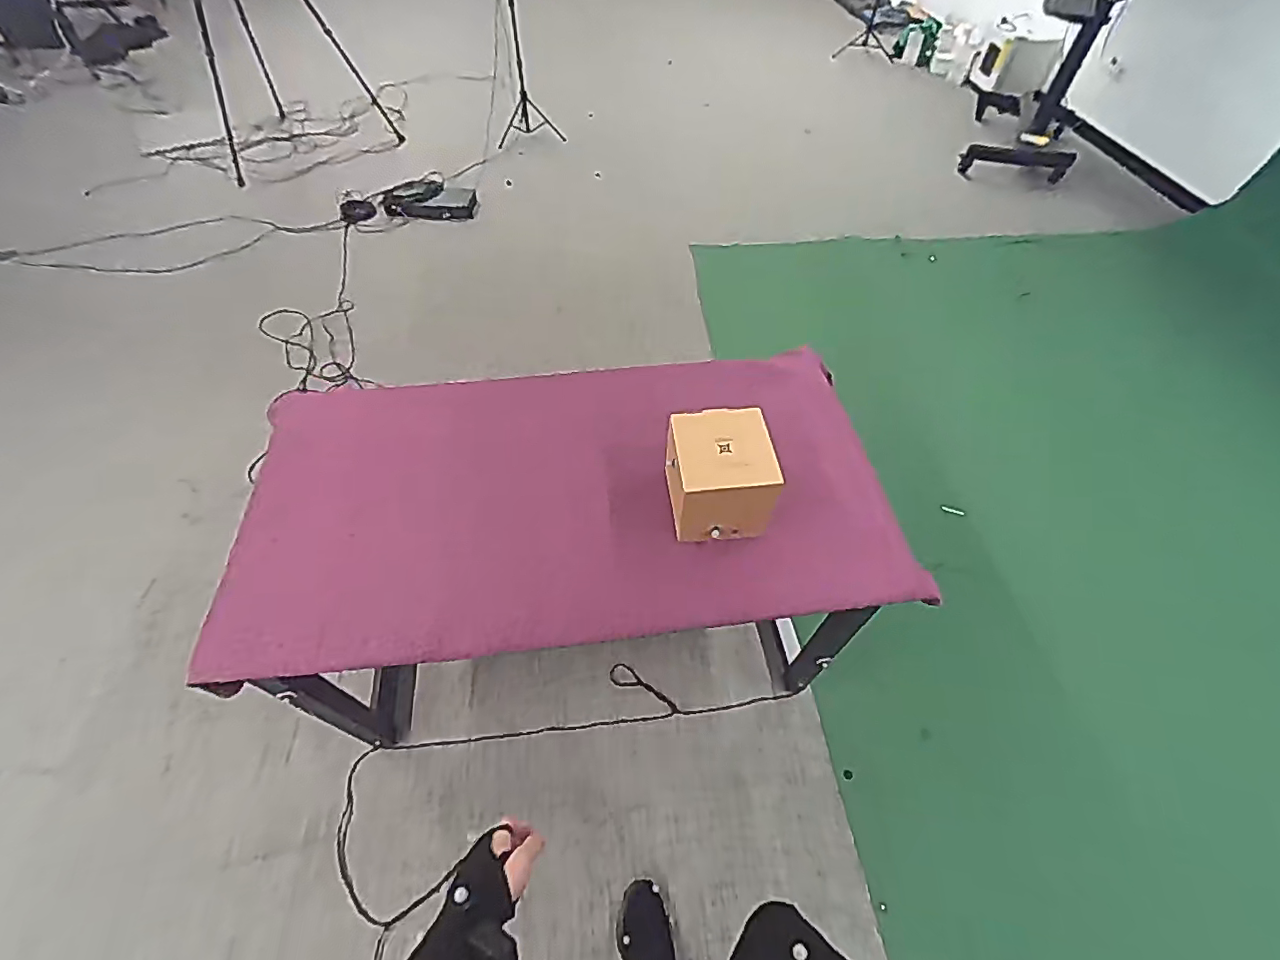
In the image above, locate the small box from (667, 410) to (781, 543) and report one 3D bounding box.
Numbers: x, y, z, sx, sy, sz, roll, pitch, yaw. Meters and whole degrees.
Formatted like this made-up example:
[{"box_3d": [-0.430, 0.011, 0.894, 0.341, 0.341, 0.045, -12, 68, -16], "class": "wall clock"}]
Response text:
[{"box_3d": [0.140, -0.005, 0.979, 0.168, 0.176, 0.179, -4, 53, -3], "class": "small box"}]
